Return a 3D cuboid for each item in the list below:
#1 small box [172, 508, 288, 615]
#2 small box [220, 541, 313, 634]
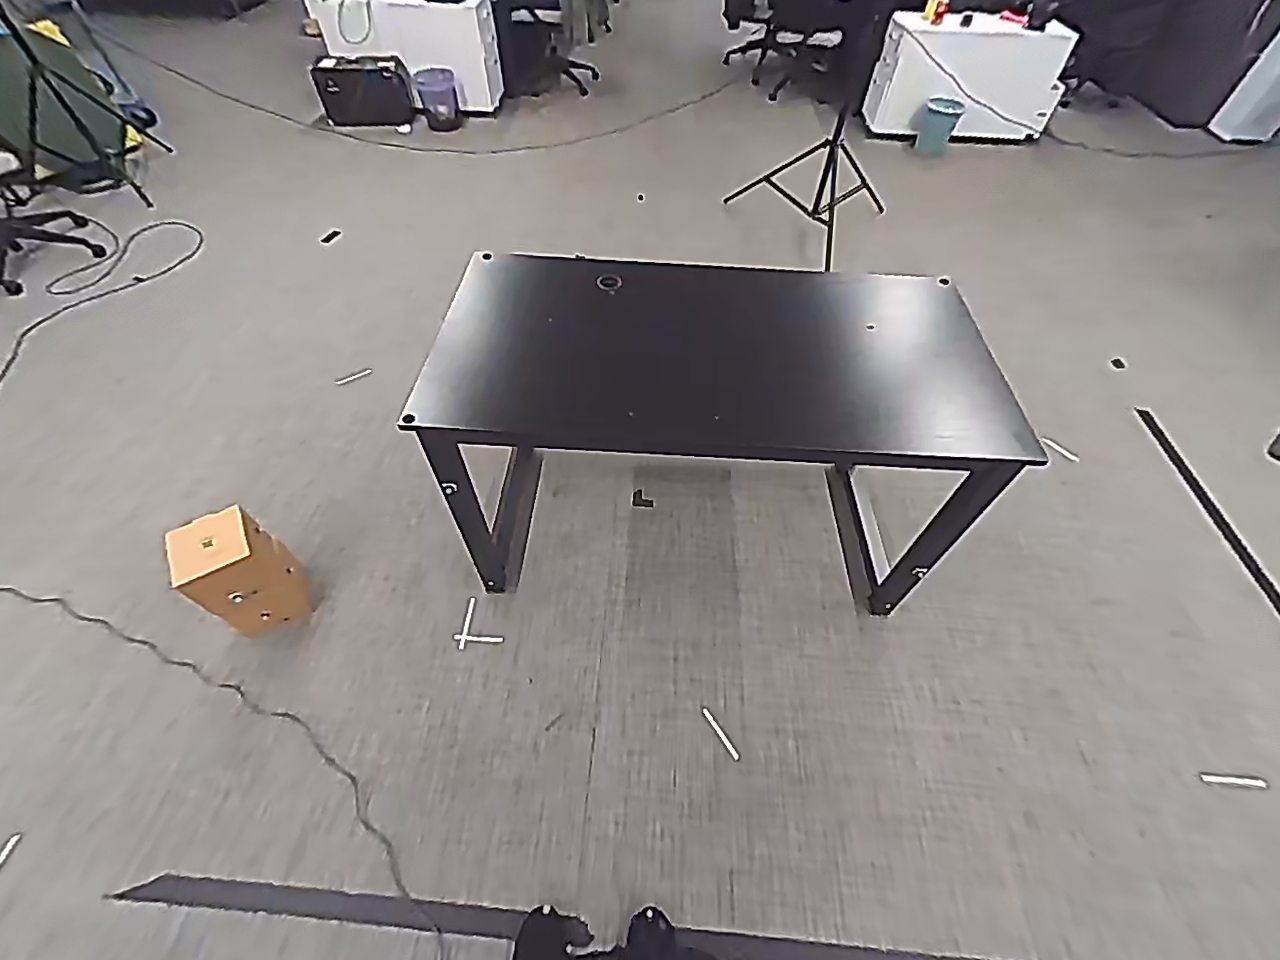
[{"bbox_3d":[-1.037,0.210,1.375,0.168,0.176,0.179,-28,59,-20],"label":"small box"},{"bbox_3d":[-1.039,0.307,1.506,0.168,0.176,0.179,-22,56,-19],"label":"small box"}]
